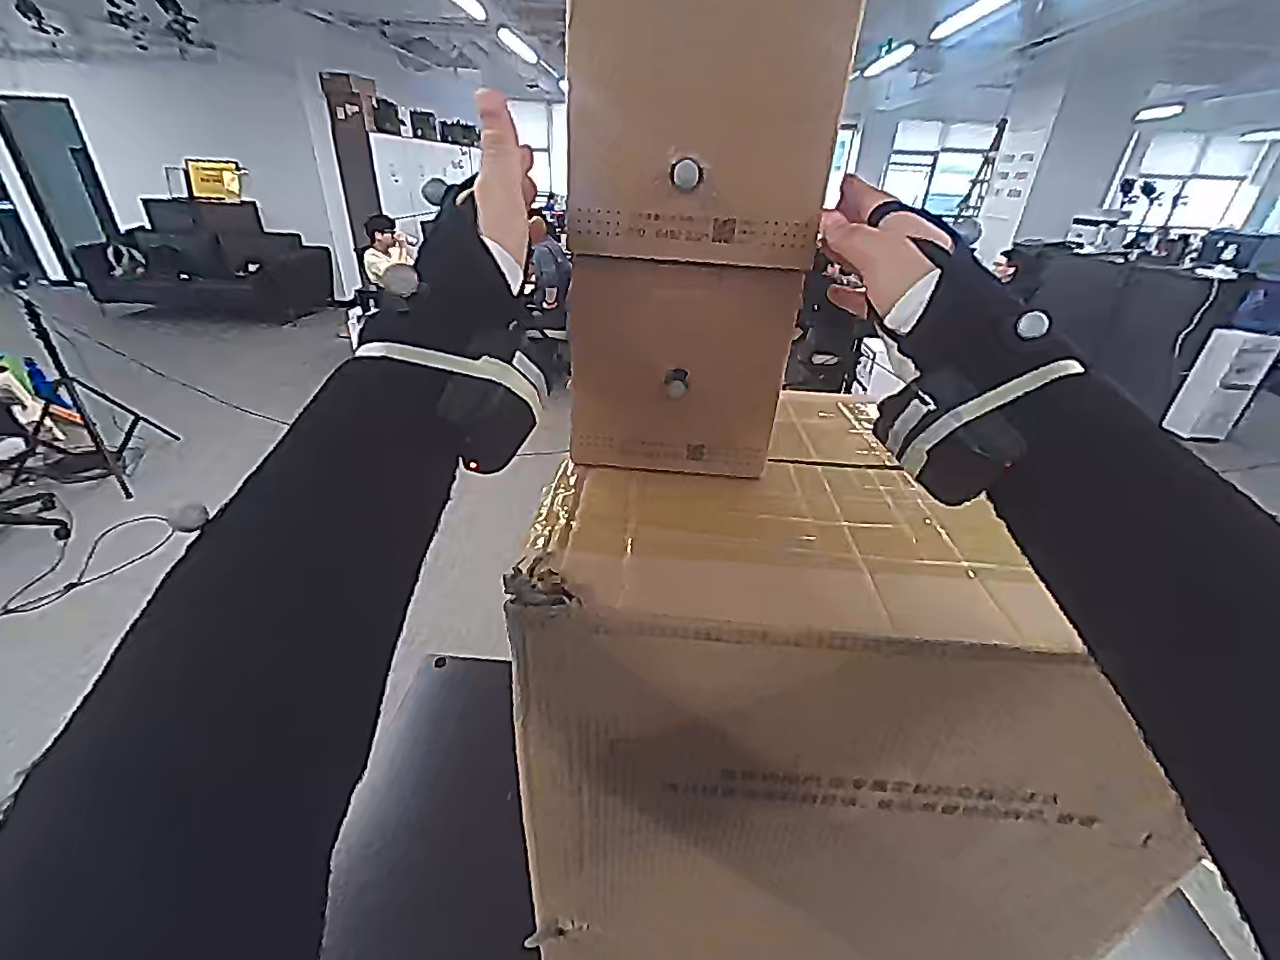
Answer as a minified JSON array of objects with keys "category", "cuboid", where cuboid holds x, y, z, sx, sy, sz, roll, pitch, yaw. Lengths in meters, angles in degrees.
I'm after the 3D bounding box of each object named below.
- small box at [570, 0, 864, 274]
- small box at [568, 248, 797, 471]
[{"category":"small box","cuboid":[0.043,-0.257,0.397,0.168,0.176,0.179,5,29,2]},{"category":"small box","cuboid":[0.032,-0.120,0.491,0.168,0.176,0.179,4,29,1]}]
